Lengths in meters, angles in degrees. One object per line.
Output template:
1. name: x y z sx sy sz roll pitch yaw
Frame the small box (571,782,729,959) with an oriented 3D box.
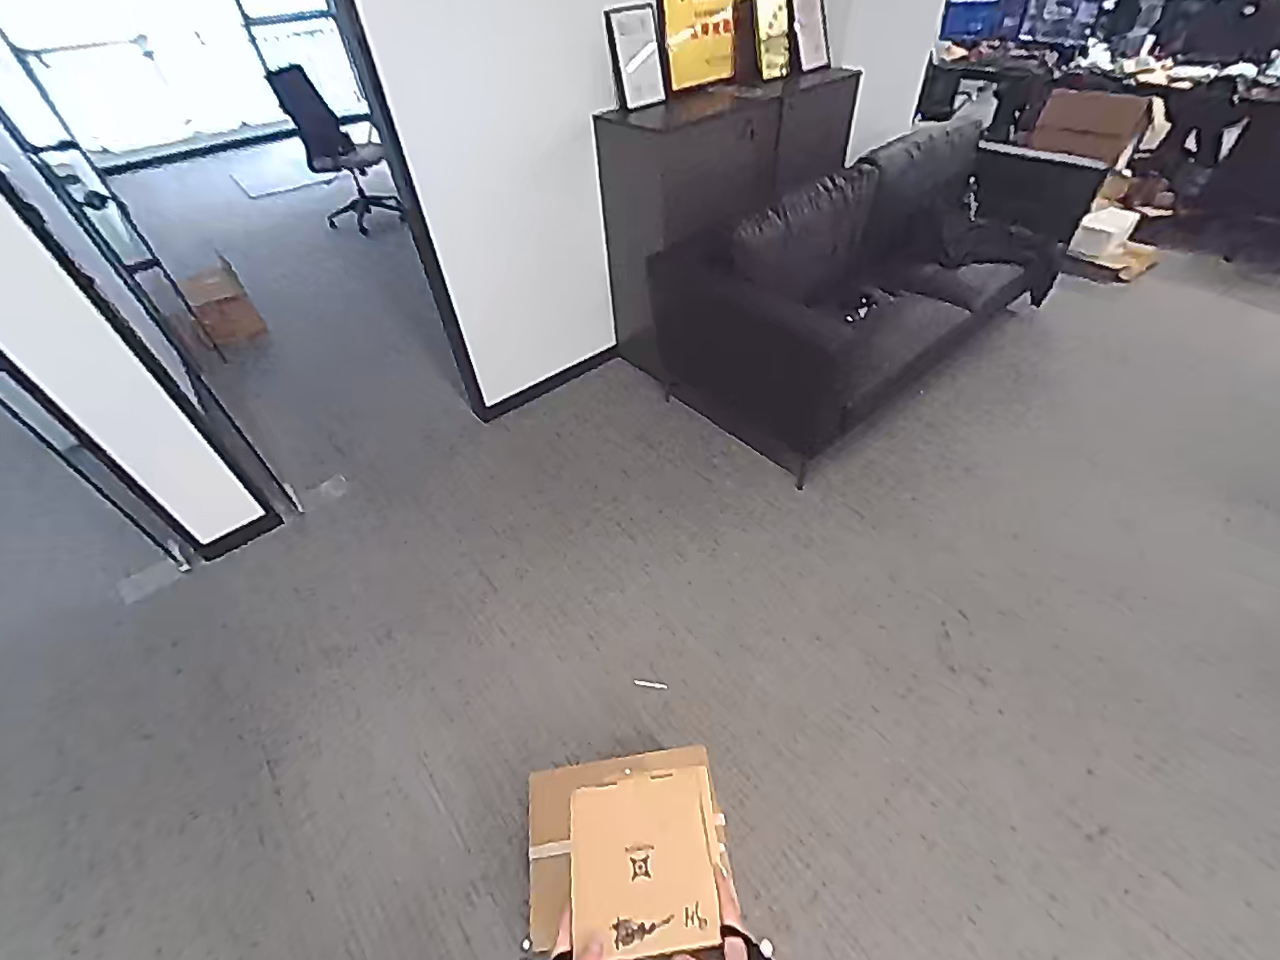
1. small box: 0.011 0.507 0.667 0.168 0.176 0.179 -9 42 0

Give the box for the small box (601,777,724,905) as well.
1. small box: 0.033 0.601 0.877 0.179 0.176 0.168 -6 46 0

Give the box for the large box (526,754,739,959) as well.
1. large box: -0.021 0.856 1.204 0.408 0.320 0.320 -9 44 -3
